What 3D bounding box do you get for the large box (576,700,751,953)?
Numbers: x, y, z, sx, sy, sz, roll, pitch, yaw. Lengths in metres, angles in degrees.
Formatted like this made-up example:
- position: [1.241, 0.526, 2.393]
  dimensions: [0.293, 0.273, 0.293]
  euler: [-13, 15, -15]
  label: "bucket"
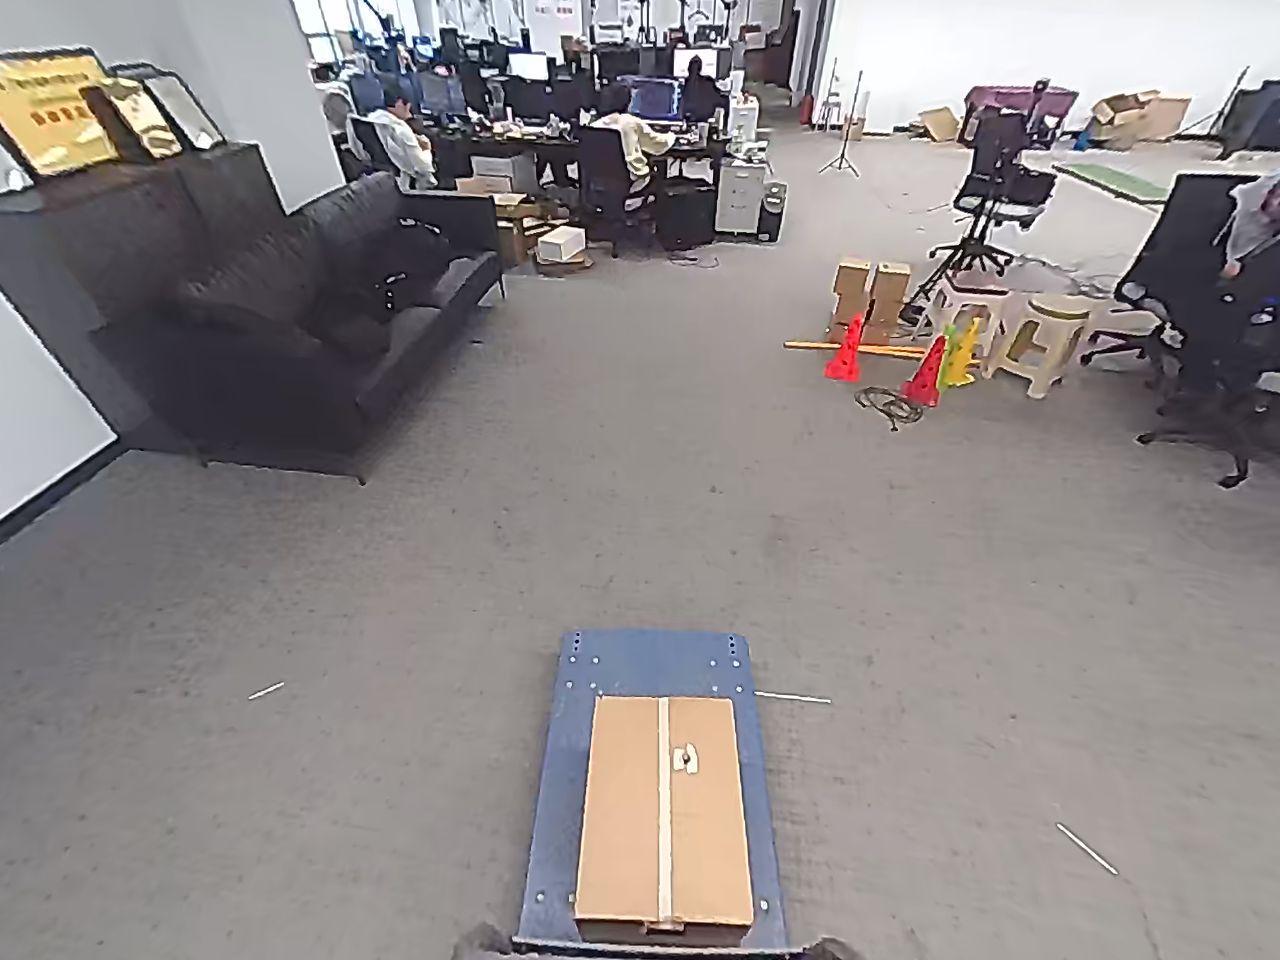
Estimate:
- position: [0.046, 0.749, 1.182]
  dimensions: [0.320, 0.320, 0.408]
  euler: [1, 41, 1]
  label: "large box"
